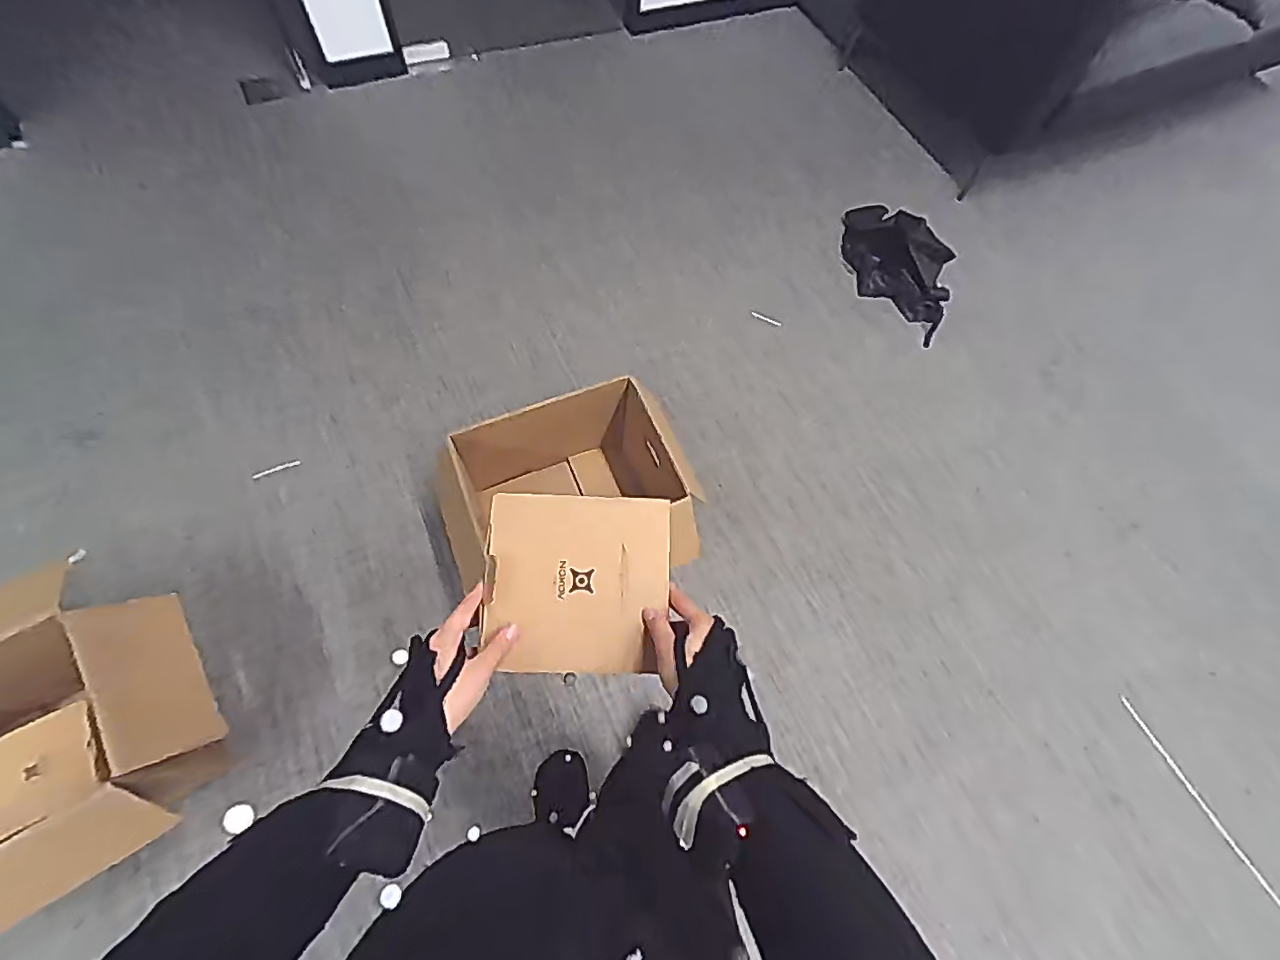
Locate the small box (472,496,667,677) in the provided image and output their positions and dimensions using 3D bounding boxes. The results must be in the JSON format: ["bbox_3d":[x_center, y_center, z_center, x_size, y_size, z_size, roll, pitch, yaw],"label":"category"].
[{"bbox_3d":[-0.068,0.117,0.579,0.179,0.176,0.168,2,75,-6],"label":"small box"}]
